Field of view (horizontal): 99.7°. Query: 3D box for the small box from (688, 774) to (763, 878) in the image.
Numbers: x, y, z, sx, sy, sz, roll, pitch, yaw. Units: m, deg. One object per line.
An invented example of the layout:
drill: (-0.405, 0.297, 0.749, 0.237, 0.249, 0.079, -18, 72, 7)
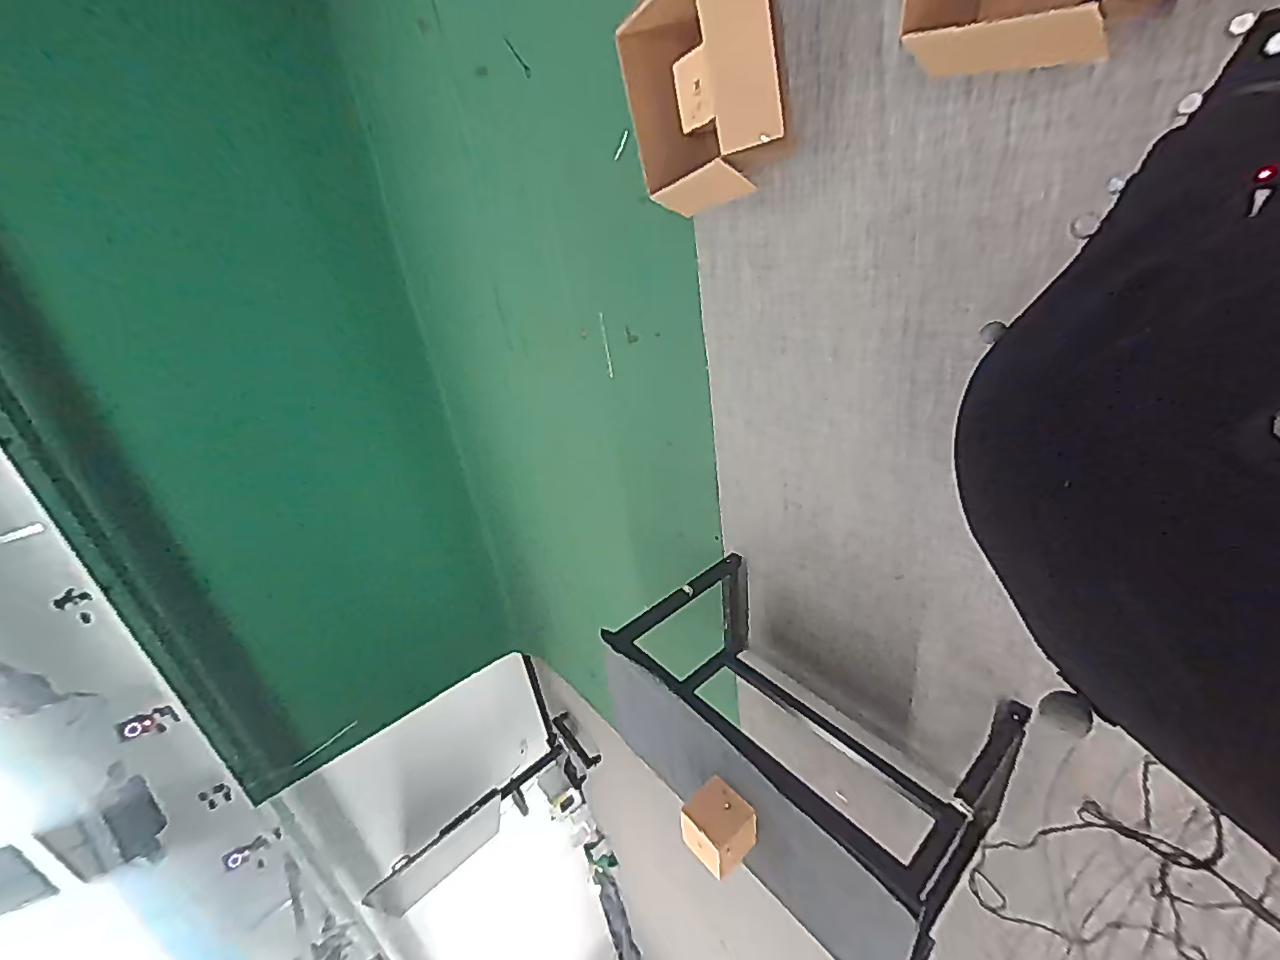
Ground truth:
small box: (0.268, 1.072, 1.686, 0.168, 0.176, 0.179, 26, 132, 45)
